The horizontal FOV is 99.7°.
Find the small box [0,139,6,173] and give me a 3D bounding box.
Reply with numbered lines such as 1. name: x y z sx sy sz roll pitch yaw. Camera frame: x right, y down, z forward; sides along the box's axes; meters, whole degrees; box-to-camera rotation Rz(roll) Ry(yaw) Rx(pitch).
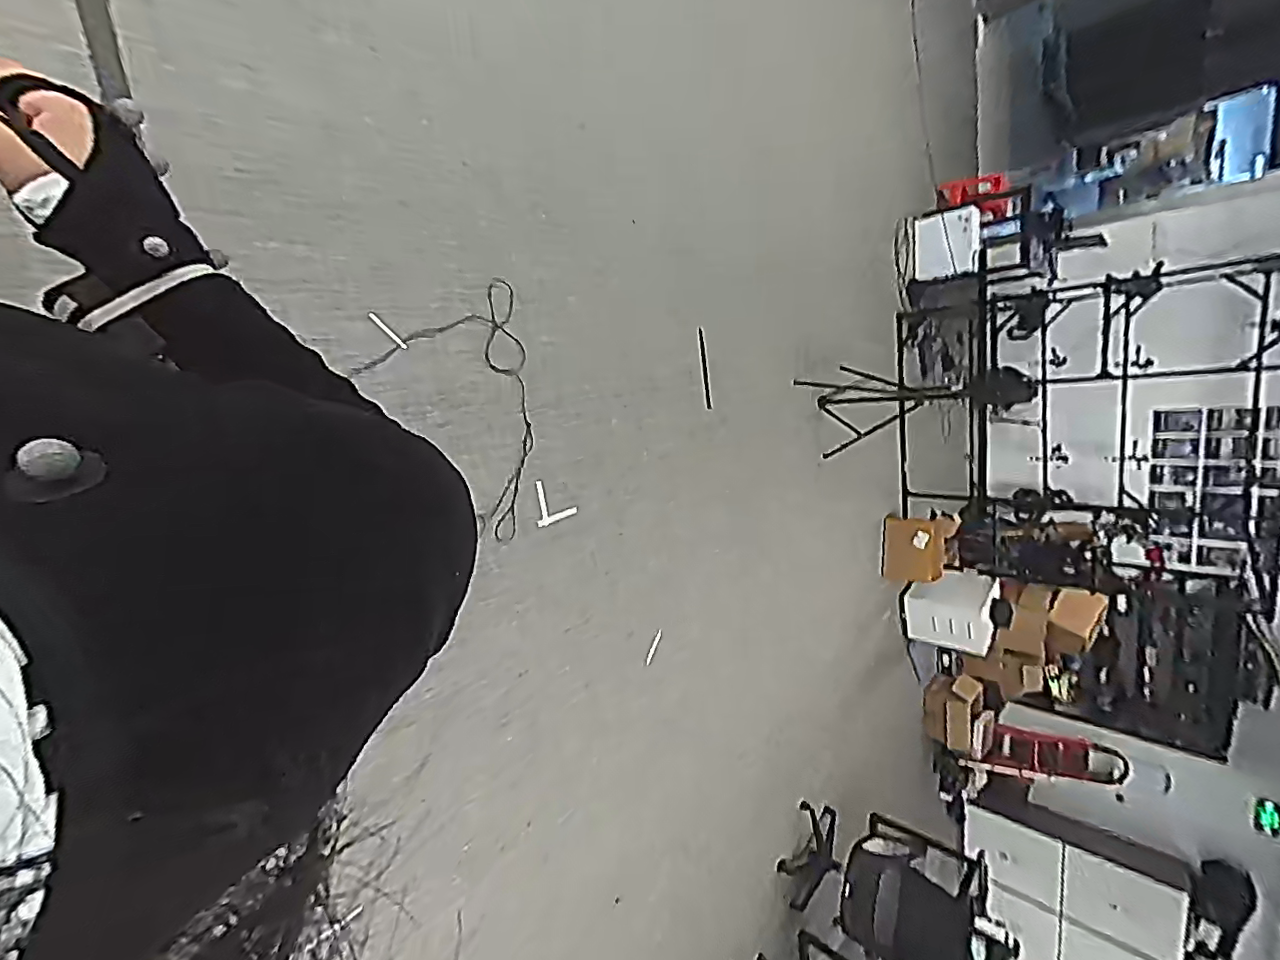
1. small box: -0.500 -0.277 0.289 0.168 0.176 0.179 -25 114 -41
